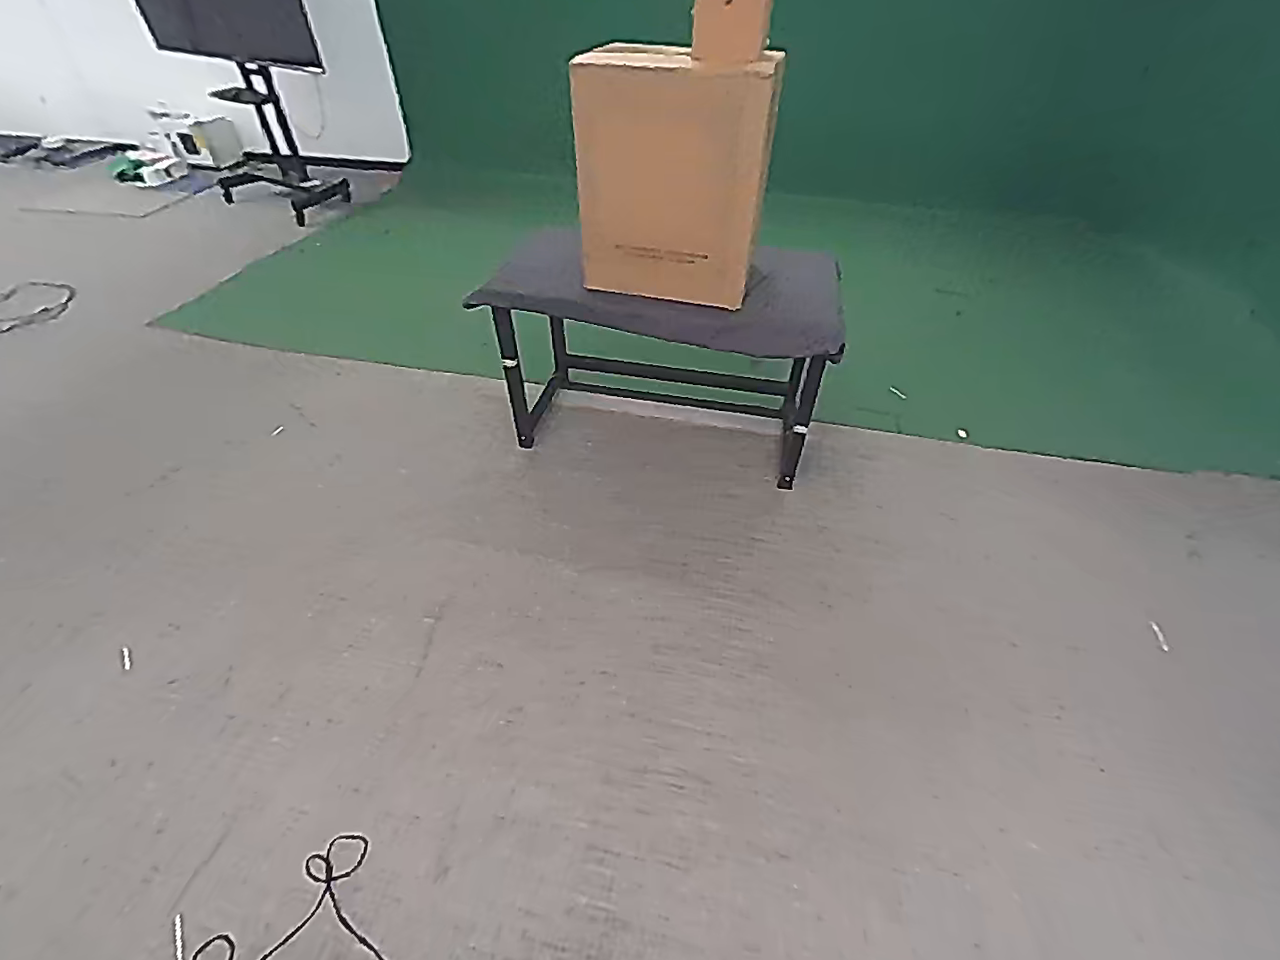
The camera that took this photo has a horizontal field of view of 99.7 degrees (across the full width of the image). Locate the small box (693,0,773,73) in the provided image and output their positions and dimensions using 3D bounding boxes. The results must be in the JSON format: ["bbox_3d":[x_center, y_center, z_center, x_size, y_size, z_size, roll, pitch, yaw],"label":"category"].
[{"bbox_3d":[0.242,-1.186,1.415,0.179,0.176,0.168,13,49,9],"label":"small box"}]
